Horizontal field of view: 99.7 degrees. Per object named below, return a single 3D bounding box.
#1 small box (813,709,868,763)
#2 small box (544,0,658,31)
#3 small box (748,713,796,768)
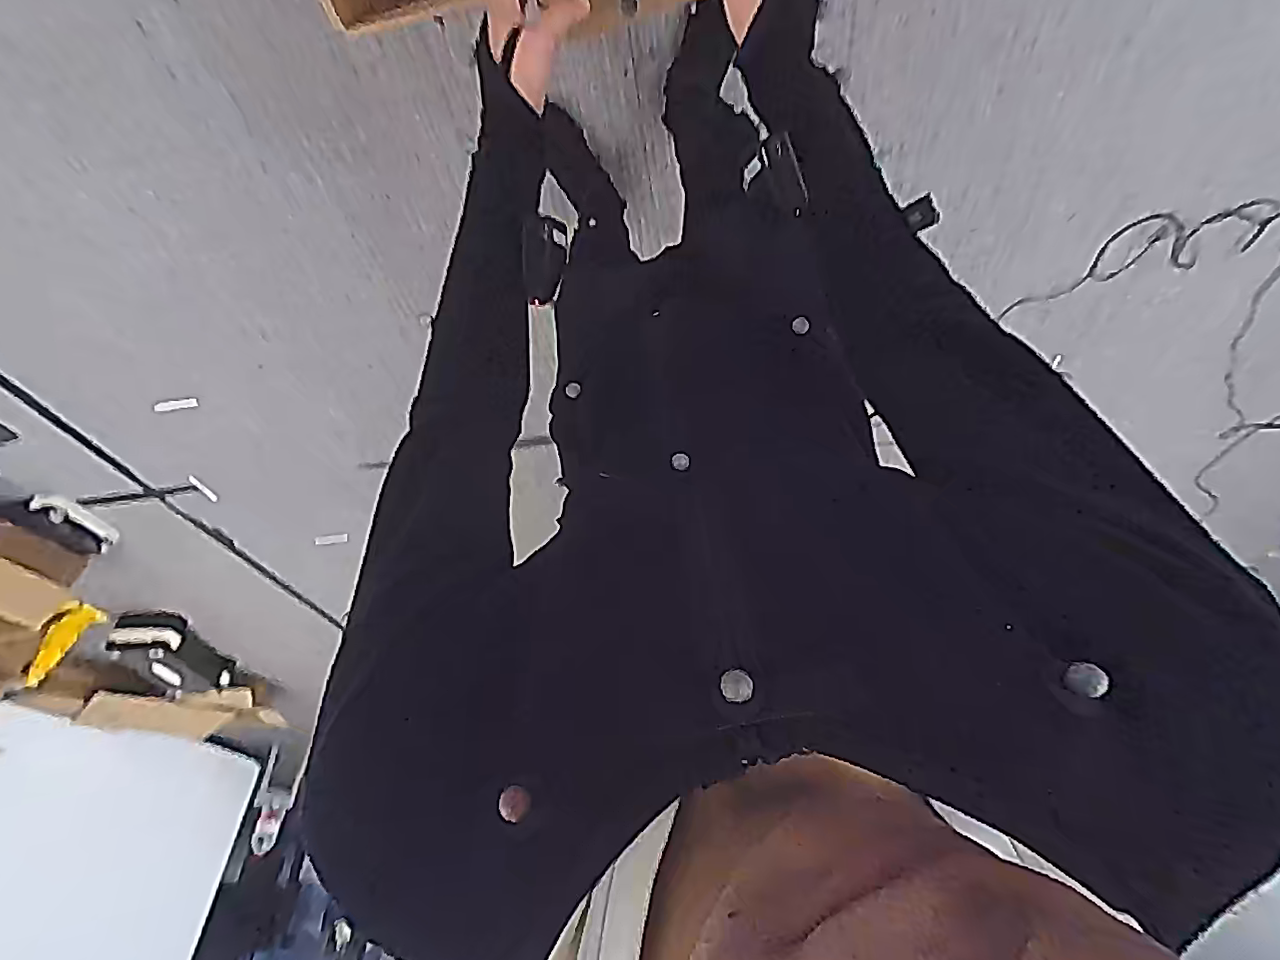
[{"bbox_3d":[0.824,1.057,2.243,0.168,0.176,0.179,-8,142,6],"label":"small box"},{"bbox_3d":[-0.025,-0.514,0.450,0.179,0.176,0.168,-13,120,11],"label":"small box"},{"bbox_3d":[0.553,1.091,2.266,0.168,0.176,0.179,-11,140,8],"label":"small box"}]
